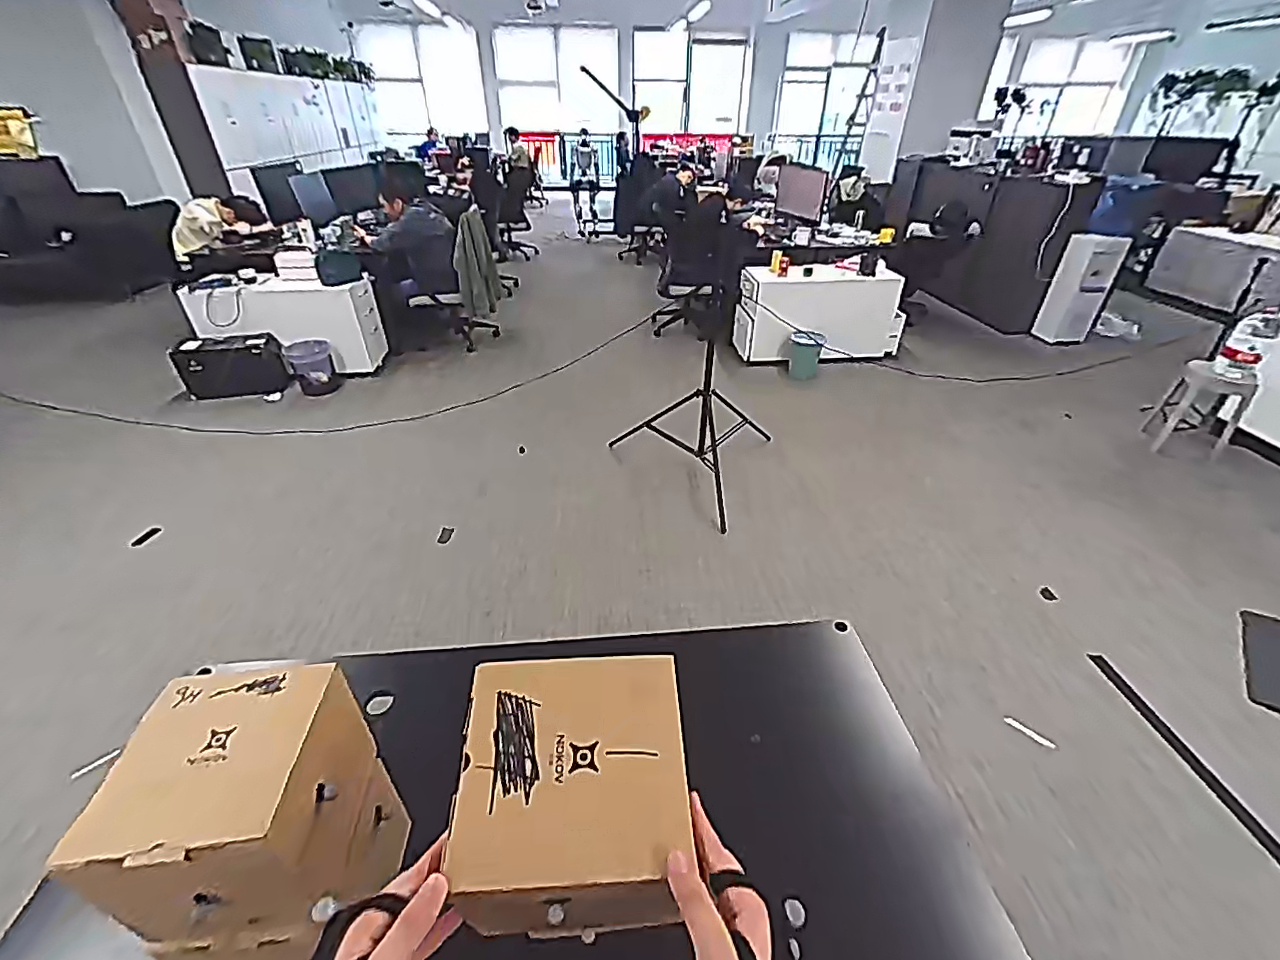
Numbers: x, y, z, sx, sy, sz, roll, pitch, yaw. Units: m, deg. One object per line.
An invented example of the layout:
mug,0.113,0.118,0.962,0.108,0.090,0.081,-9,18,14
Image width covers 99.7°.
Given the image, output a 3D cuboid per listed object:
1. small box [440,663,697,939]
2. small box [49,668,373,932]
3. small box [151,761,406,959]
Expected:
small box,-0.052,0.279,0.472,0.179,0.176,0.168,-1,43,-3
small box,-0.391,0.319,0.542,0.168,0.176,0.179,-3,35,-6
small box,-0.389,0.459,0.627,0.168,0.176,0.179,-2,34,-4
